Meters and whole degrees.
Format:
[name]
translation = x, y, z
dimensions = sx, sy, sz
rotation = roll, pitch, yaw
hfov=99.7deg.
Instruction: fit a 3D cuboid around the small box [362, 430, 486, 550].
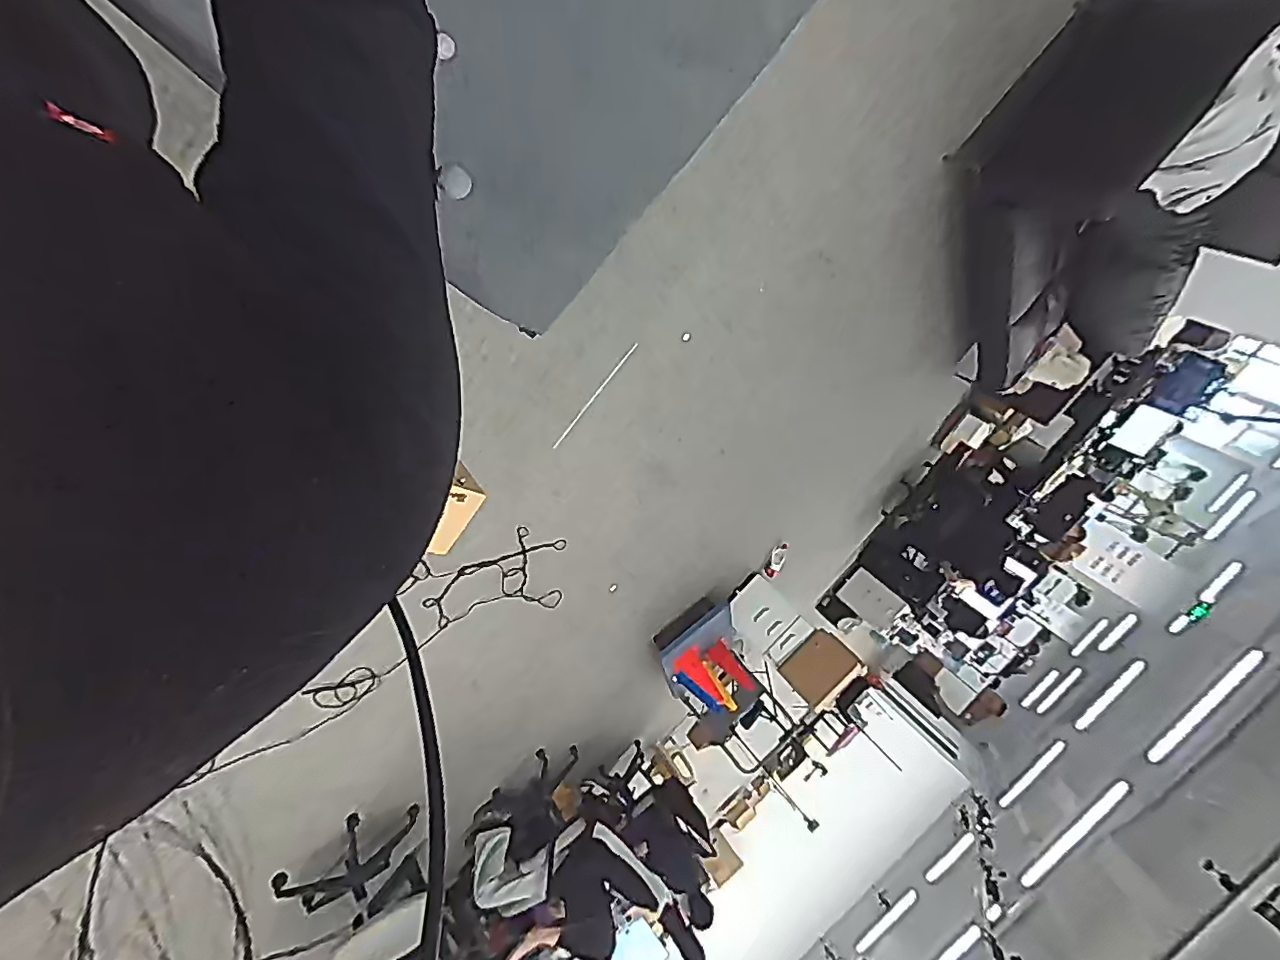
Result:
[small box]
translation = -0.477, 0.023, 1.179
dimensions = 0.179, 0.176, 0.168
rotation = -52, 146, 9
